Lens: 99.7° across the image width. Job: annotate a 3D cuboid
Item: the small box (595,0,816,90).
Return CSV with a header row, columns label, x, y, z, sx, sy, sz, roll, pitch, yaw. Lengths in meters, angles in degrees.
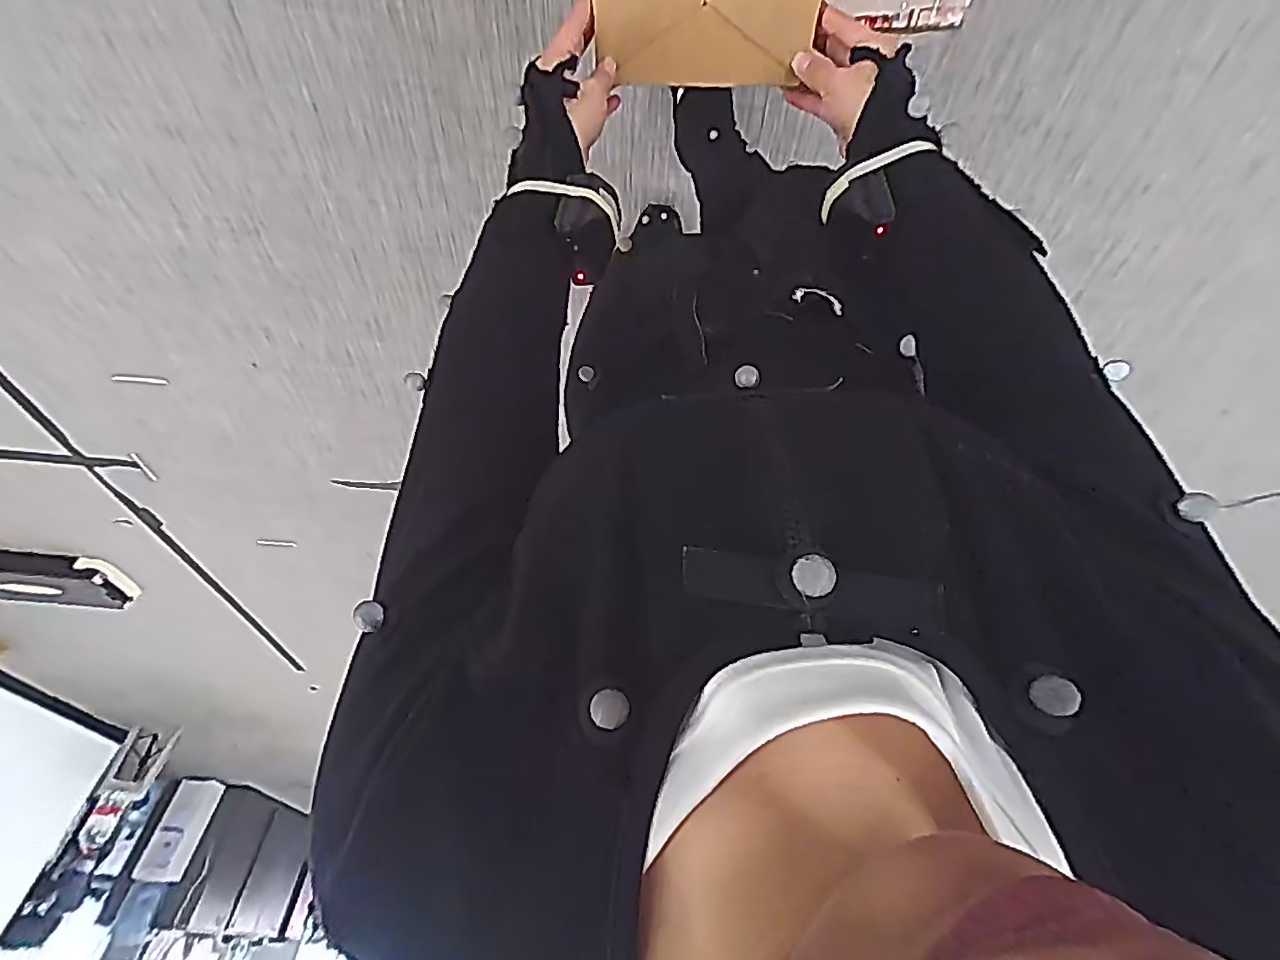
label,x,y,z,sx,sy,sz,roll,pitch,yaw
small box,0.051,-0.446,0.451,0.179,0.176,0.168,2,139,2
